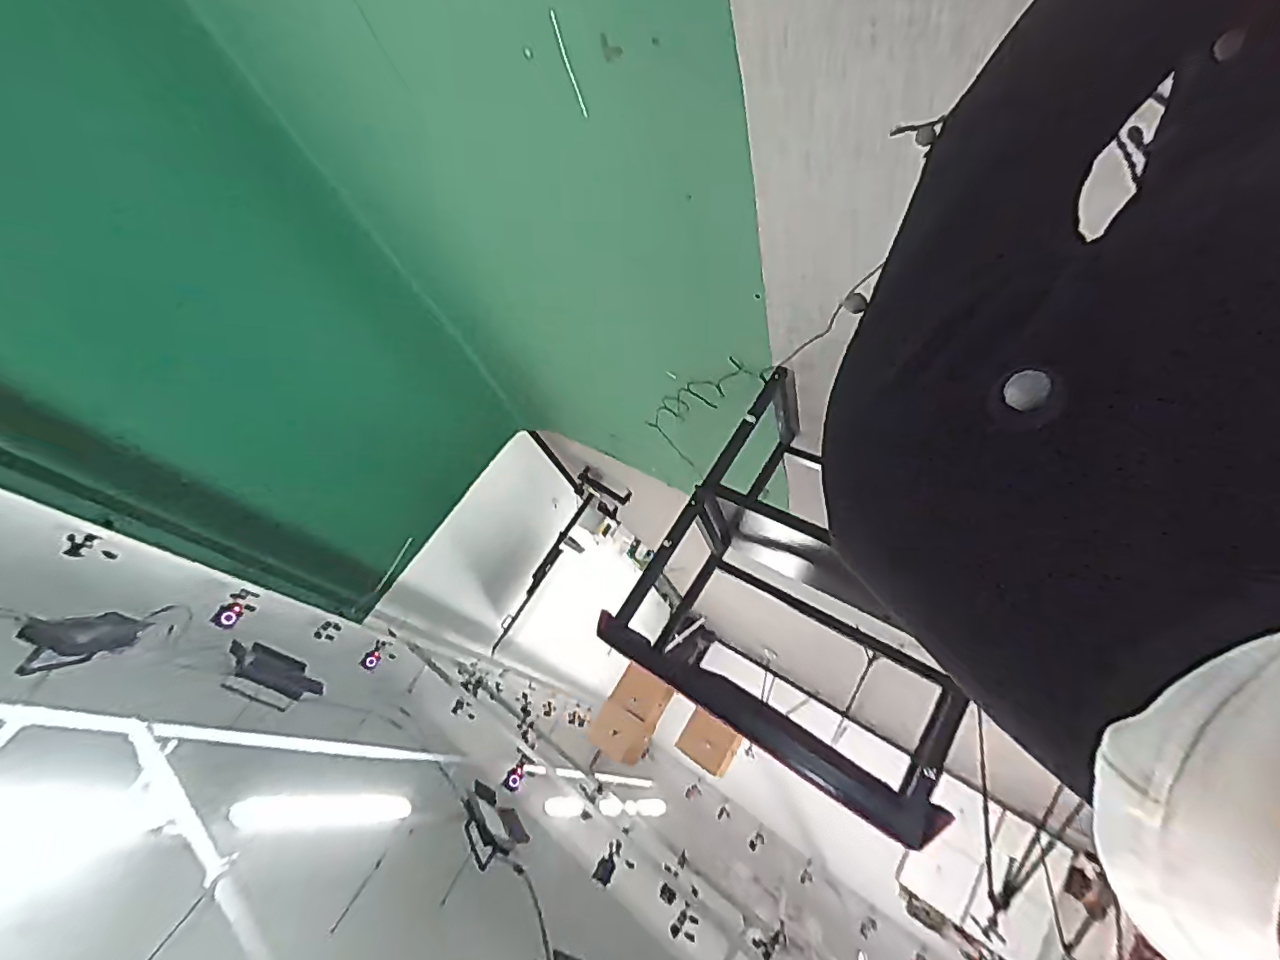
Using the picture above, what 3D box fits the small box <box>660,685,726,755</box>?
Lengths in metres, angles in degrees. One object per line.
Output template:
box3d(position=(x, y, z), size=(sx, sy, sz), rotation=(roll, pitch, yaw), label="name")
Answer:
box3d(position=(0.203, 0.878, 1.980), size=(0.179, 0.176, 0.168), rotation=(25, 163, 27), label="small box")

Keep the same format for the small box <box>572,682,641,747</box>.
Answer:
box3d(position=(-0.124, 0.901, 2.093), size=(0.179, 0.176, 0.168), rotation=(22, 161, 30), label="small box")

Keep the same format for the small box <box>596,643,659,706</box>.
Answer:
box3d(position=(-0.039, 0.769, 2.138), size=(0.179, 0.176, 0.168), rotation=(26, 163, 25), label="small box")
